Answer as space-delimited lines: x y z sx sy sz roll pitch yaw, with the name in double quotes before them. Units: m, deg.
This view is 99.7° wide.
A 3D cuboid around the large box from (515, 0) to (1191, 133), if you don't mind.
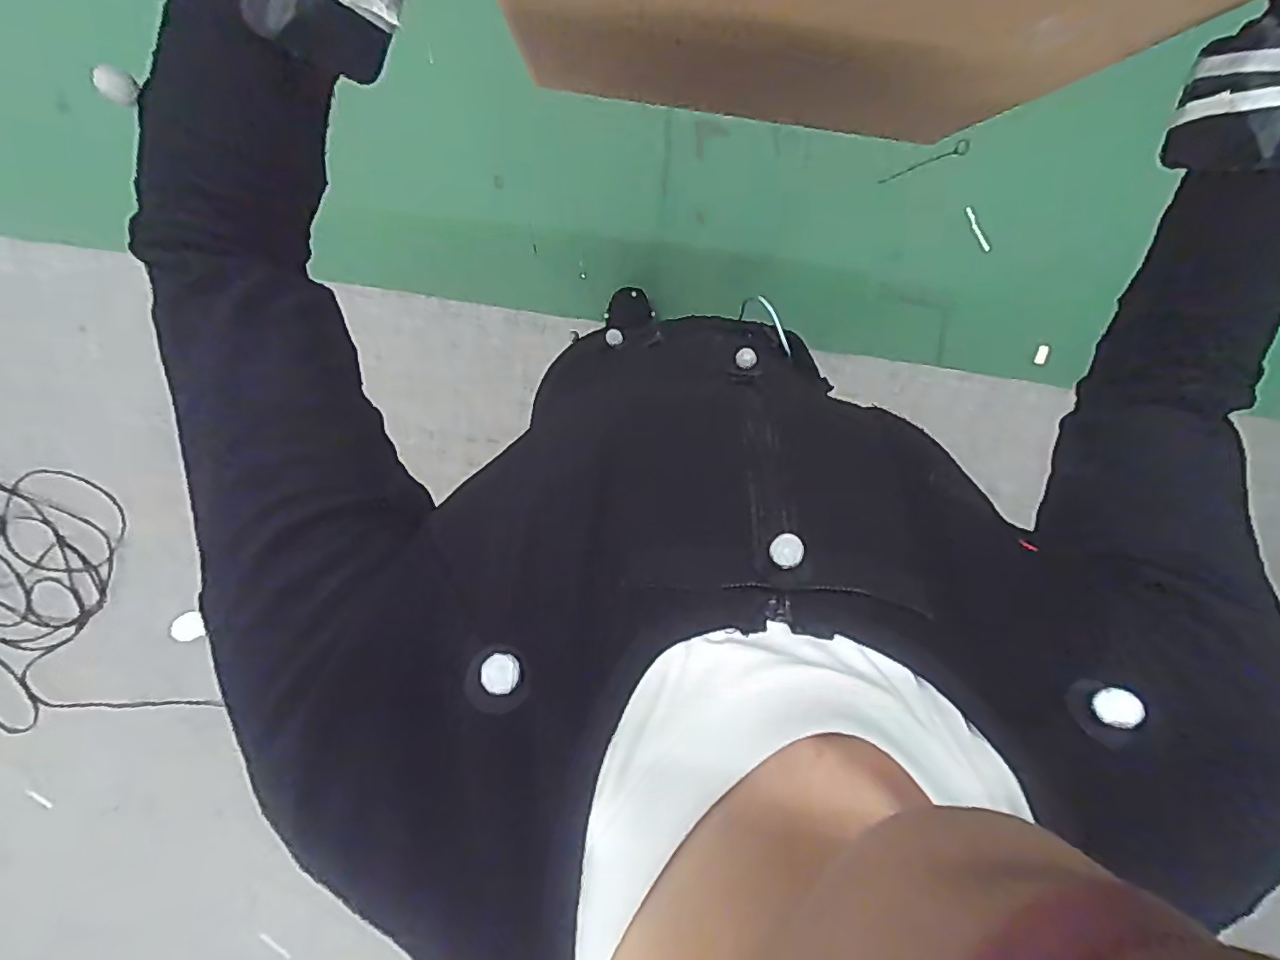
"large box" 0.120 -0.458 0.348 0.408 0.320 0.320 4 110 -5
